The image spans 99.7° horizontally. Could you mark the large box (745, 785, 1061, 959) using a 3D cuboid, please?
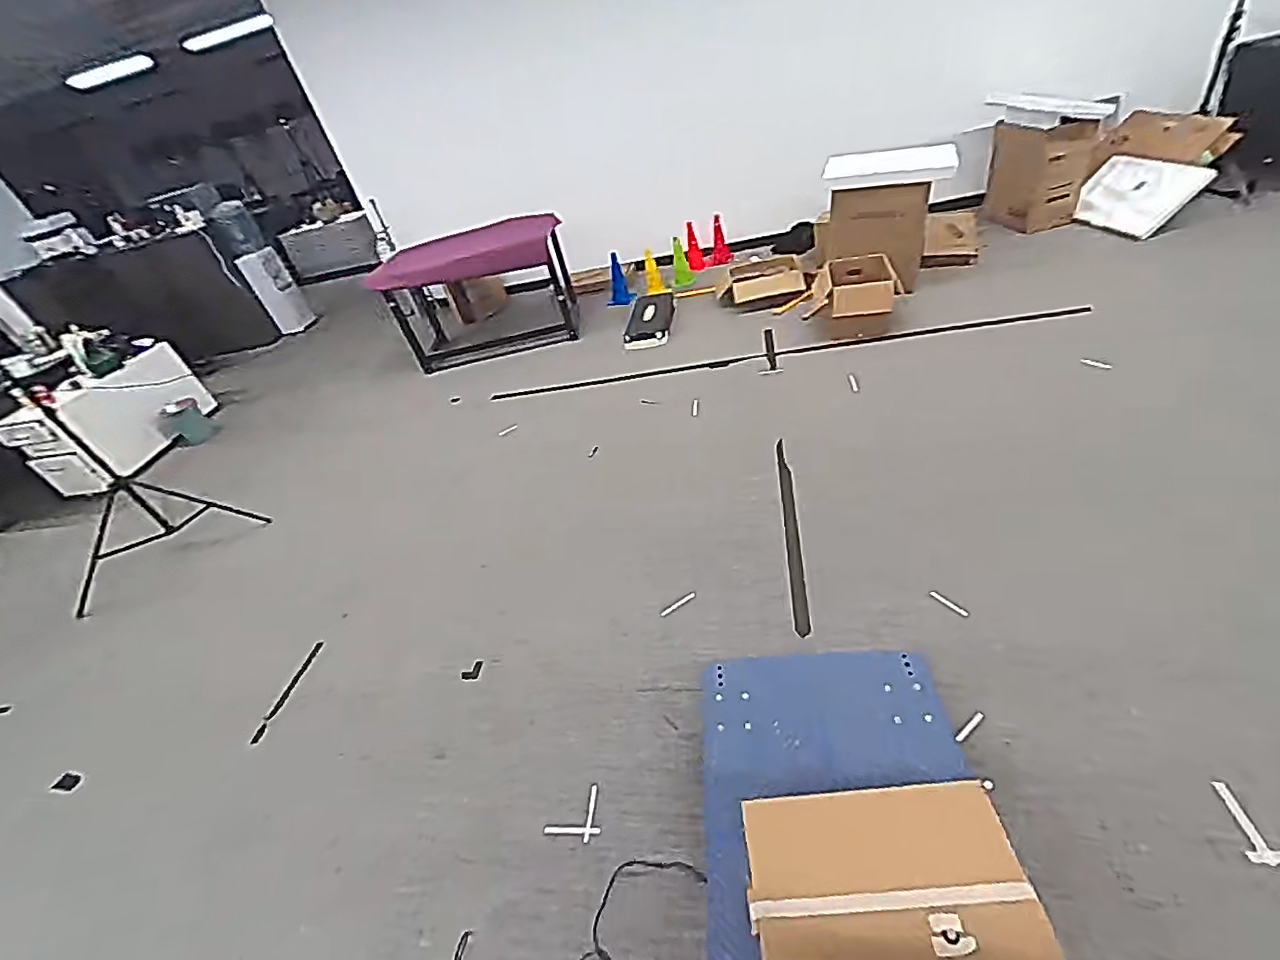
[{"bbox_3d":[0.408,0.757,0.906,0.408,0.320,0.320,-9,39,7],"label":"large box"}]
